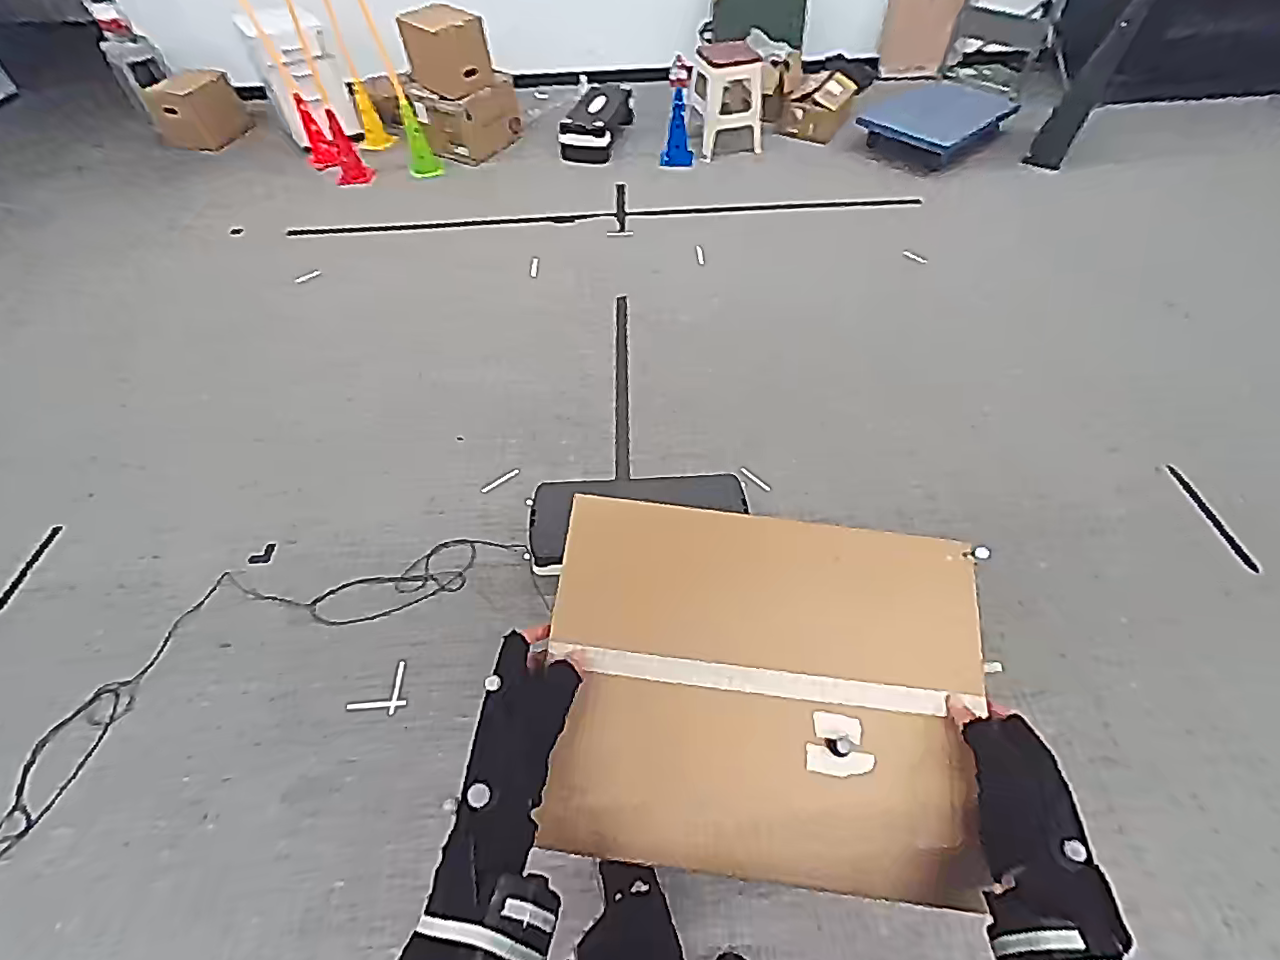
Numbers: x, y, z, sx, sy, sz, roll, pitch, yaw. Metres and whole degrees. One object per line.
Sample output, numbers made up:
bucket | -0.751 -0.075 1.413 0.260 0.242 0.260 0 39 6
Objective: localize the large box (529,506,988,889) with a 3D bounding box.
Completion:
large box | 0.108 0.239 0.651 0.408 0.320 0.320 6 70 1
